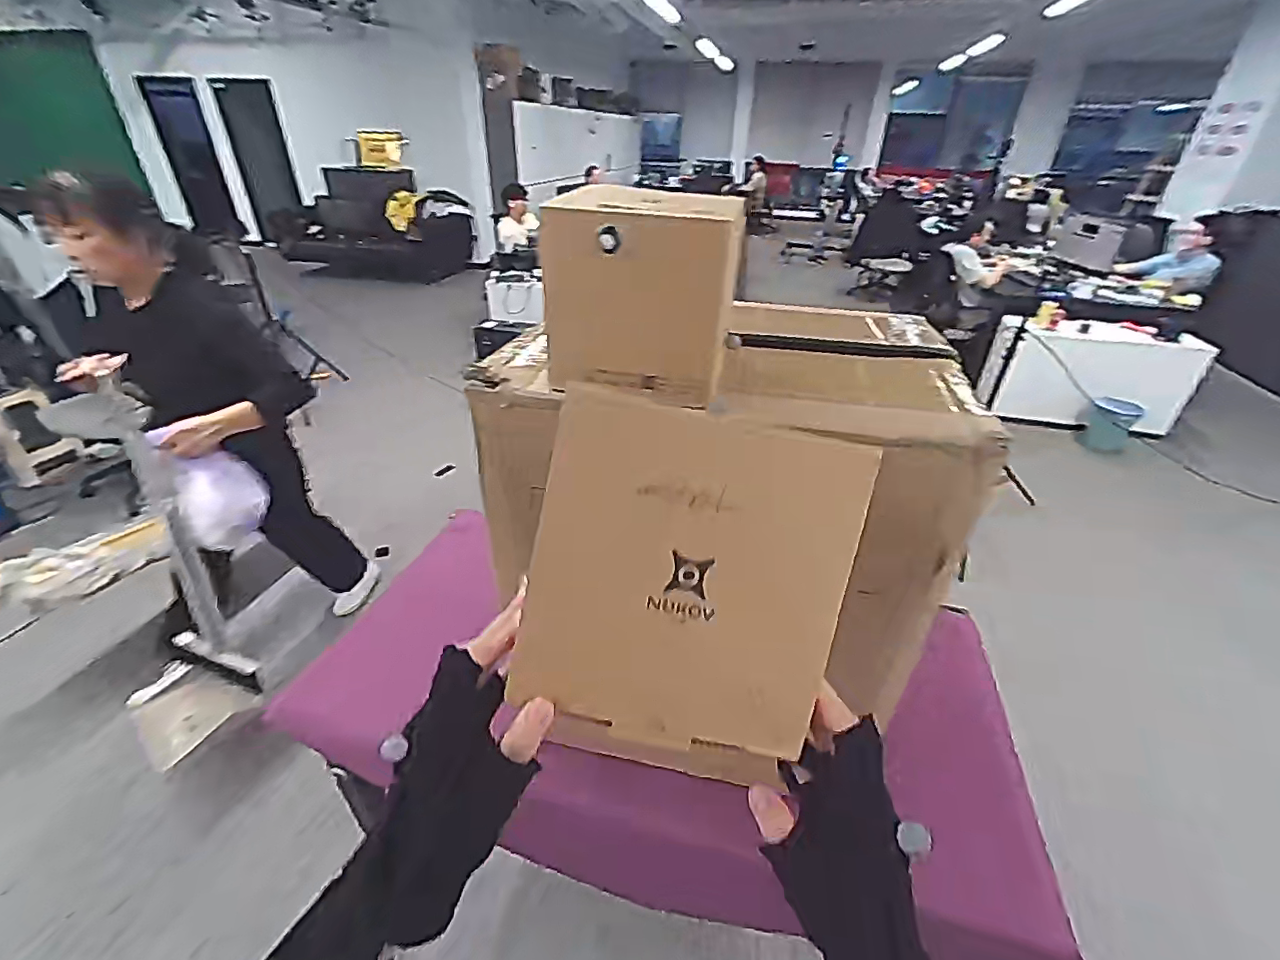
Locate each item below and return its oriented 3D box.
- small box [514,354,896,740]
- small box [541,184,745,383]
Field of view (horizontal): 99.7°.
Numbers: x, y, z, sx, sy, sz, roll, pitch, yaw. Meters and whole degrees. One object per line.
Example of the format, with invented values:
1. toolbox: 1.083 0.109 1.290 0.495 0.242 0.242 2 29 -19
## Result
1. small box: 0.030 0.029 0.354 0.168 0.179 0.176 12 6 -3
2. small box: 0.009 -0.196 0.550 0.168 0.176 0.179 8 33 9
